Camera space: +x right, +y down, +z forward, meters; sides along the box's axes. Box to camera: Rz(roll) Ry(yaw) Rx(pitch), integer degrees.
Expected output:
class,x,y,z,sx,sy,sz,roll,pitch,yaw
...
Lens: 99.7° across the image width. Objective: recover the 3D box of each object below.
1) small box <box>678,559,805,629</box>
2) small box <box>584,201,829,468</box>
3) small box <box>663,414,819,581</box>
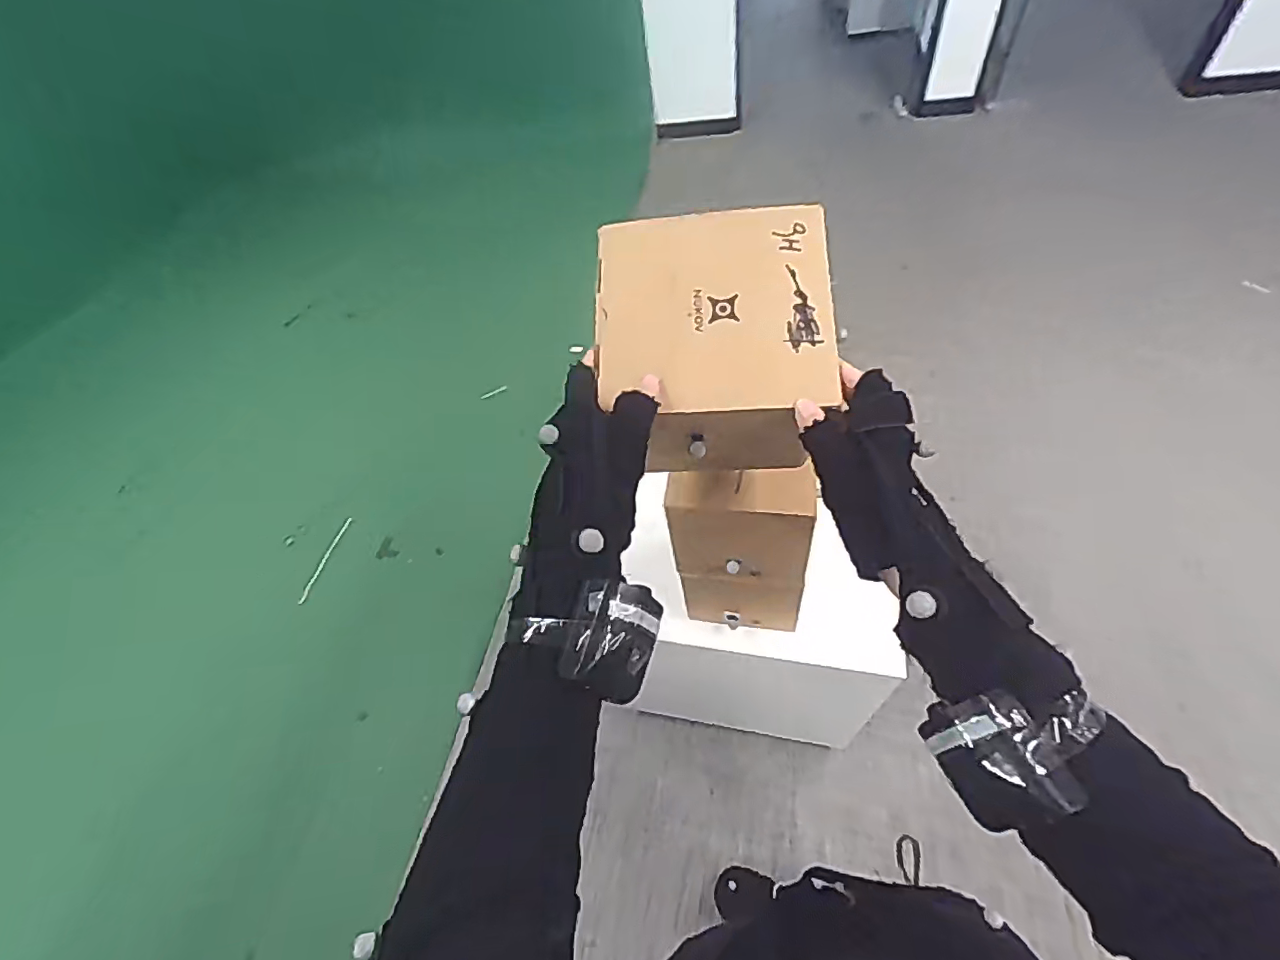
class,x,y,z,sx,sy,sz,roll,pitch,yaw
small box,0.156,0.104,0.810,0.168,0.176,0.179,2,56,14
small box,0.059,-0.110,0.476,0.179,0.176,0.168,-1,76,8
small box,0.128,0.007,0.680,0.168,0.176,0.179,1,53,12
